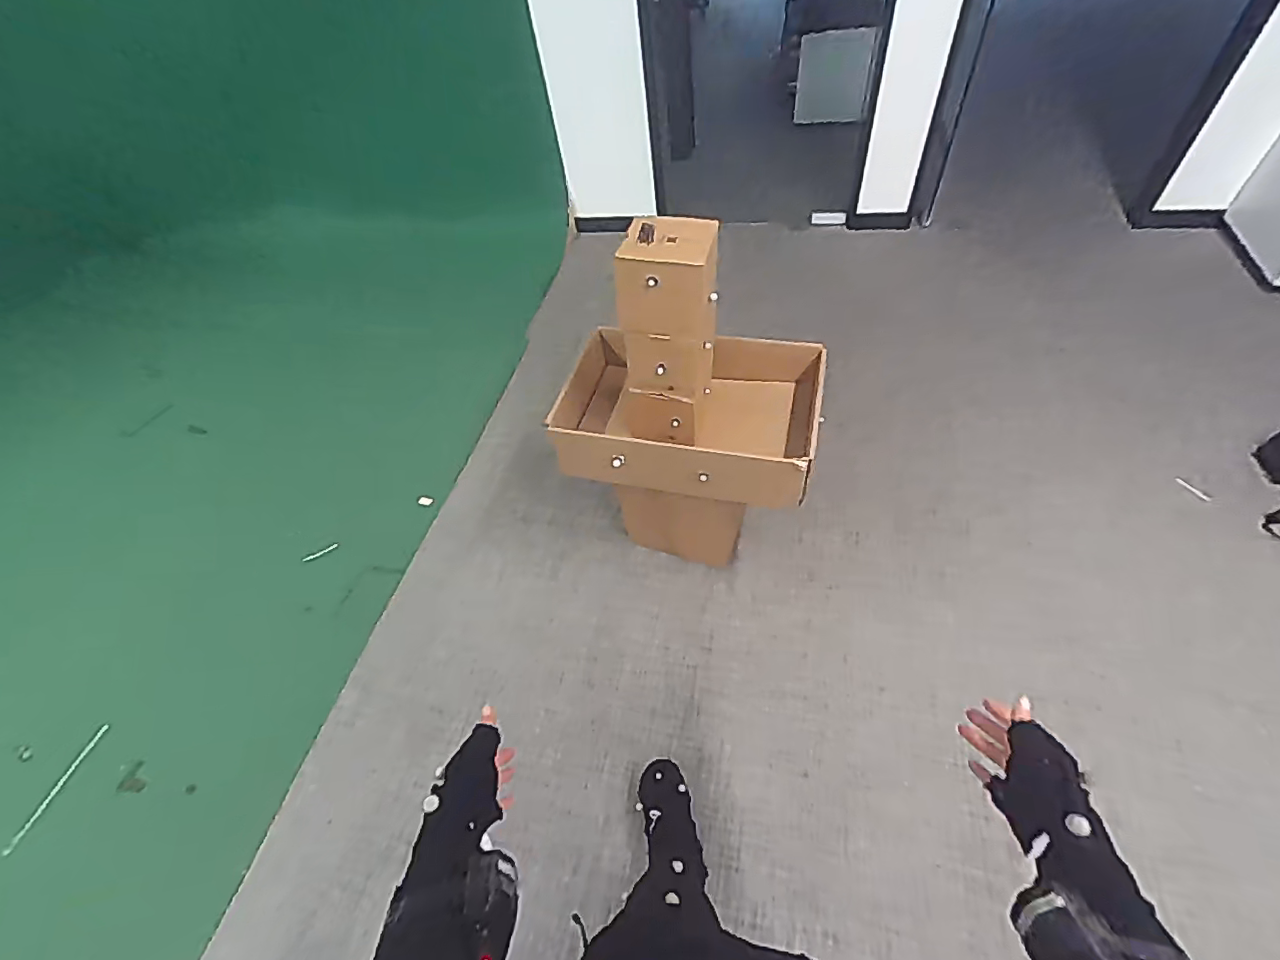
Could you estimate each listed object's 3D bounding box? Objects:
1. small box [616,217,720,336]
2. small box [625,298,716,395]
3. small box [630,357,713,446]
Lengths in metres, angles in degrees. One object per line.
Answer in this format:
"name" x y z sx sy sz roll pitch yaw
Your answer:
"small box" 0.062 -0.418 1.119 0.179 0.176 0.168 10 54 11
"small box" 0.076 -0.319 1.251 0.168 0.176 0.179 12 55 13
"small box" 0.084 -0.211 1.374 0.168 0.176 0.179 12 53 14
